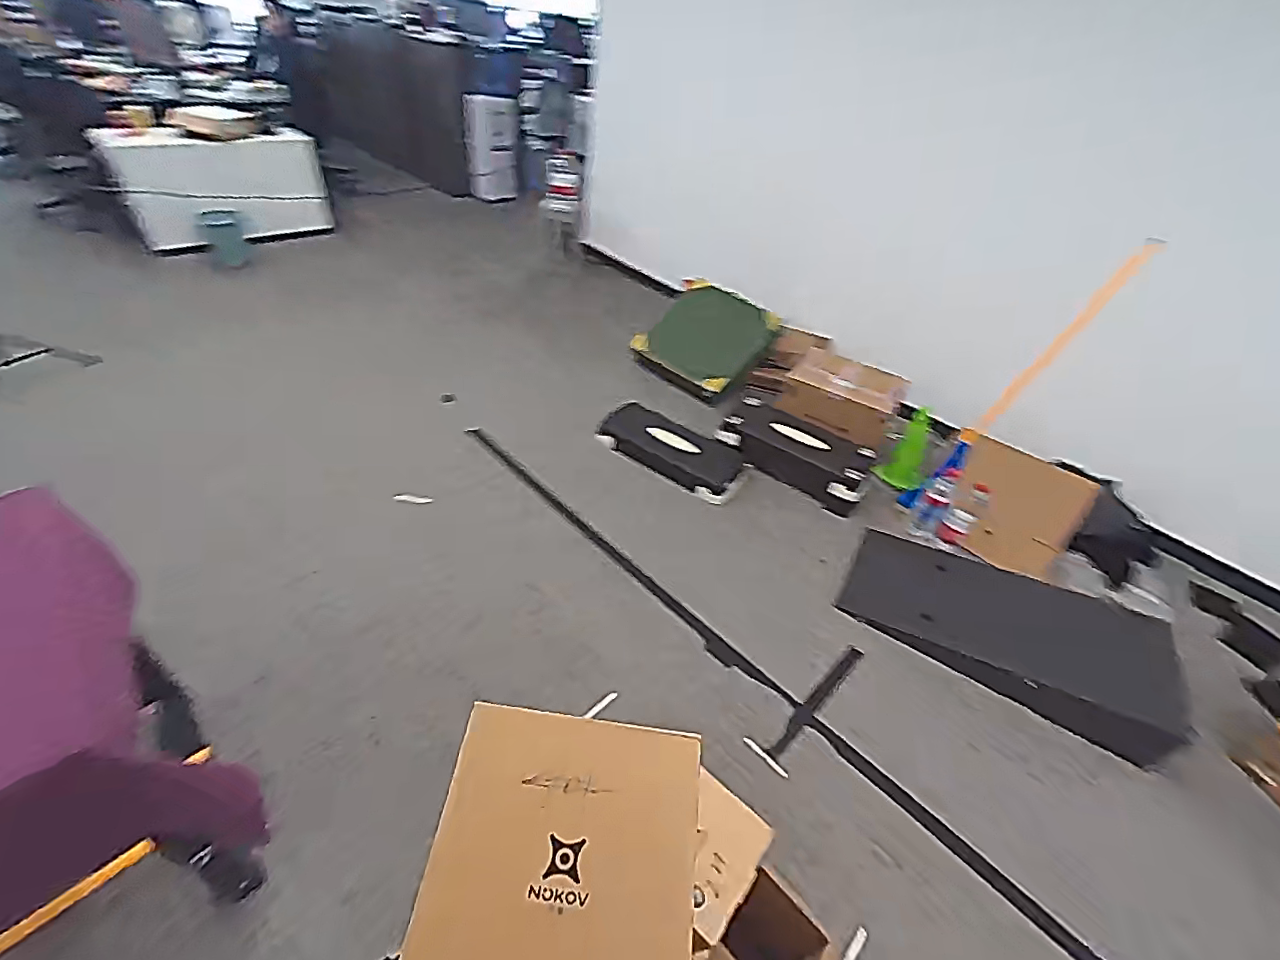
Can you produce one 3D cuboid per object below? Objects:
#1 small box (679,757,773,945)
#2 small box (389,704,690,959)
[{"bbox_3d":[0.064,0.552,0.811,0.179,0.176,0.168,35,51,21],"label":"small box"},{"bbox_3d":[-0.062,0.286,0.396,0.168,0.176,0.179,9,52,-2],"label":"small box"}]
